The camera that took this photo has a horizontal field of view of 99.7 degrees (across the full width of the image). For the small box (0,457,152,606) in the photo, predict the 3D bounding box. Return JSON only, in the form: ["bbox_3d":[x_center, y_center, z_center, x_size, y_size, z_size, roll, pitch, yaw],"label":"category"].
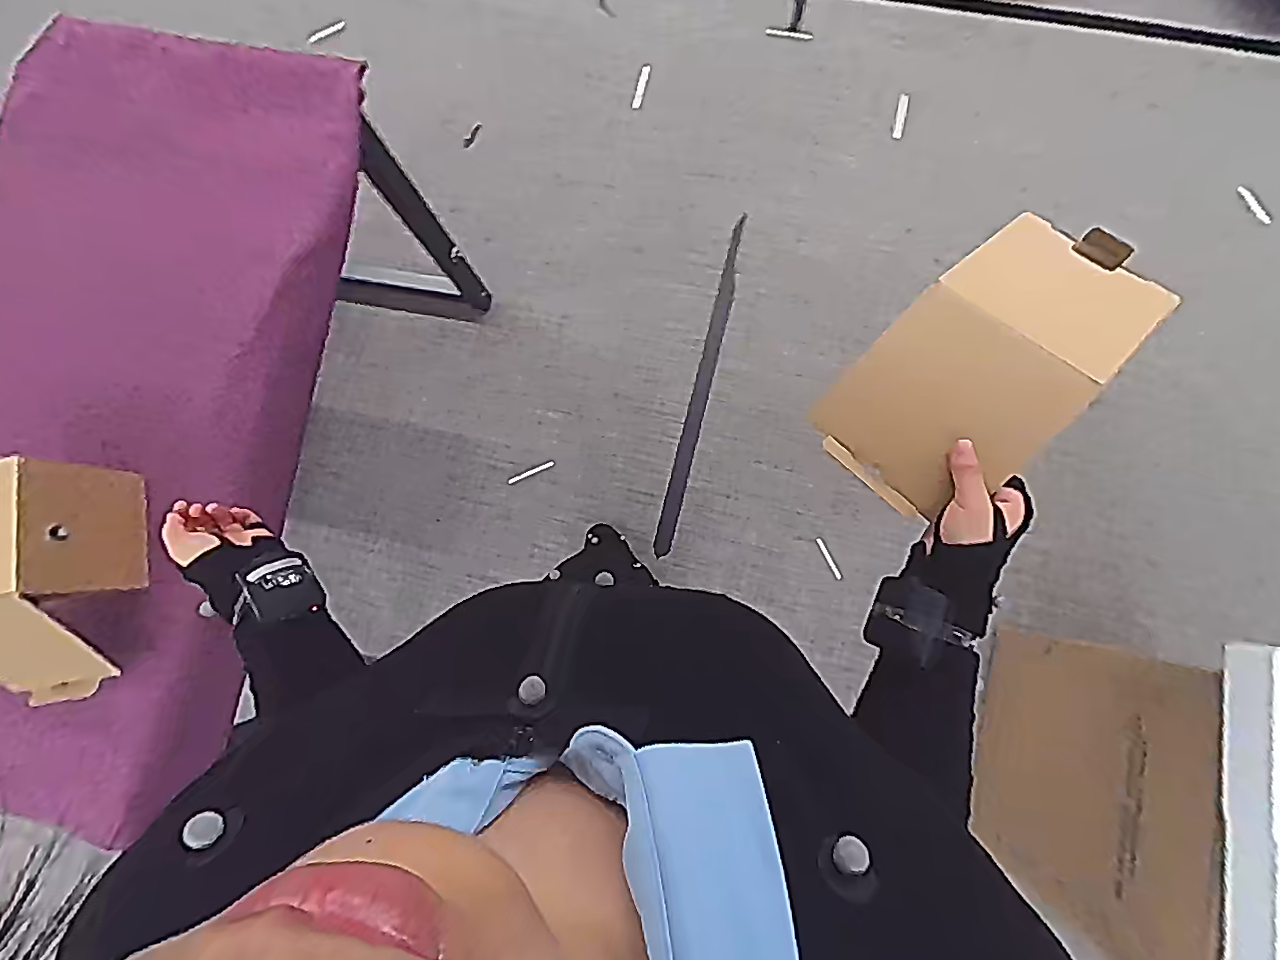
[{"bbox_3d":[-0.829,0.078,0.749,0.168,0.176,0.179,-9,80,2],"label":"small box"}]
